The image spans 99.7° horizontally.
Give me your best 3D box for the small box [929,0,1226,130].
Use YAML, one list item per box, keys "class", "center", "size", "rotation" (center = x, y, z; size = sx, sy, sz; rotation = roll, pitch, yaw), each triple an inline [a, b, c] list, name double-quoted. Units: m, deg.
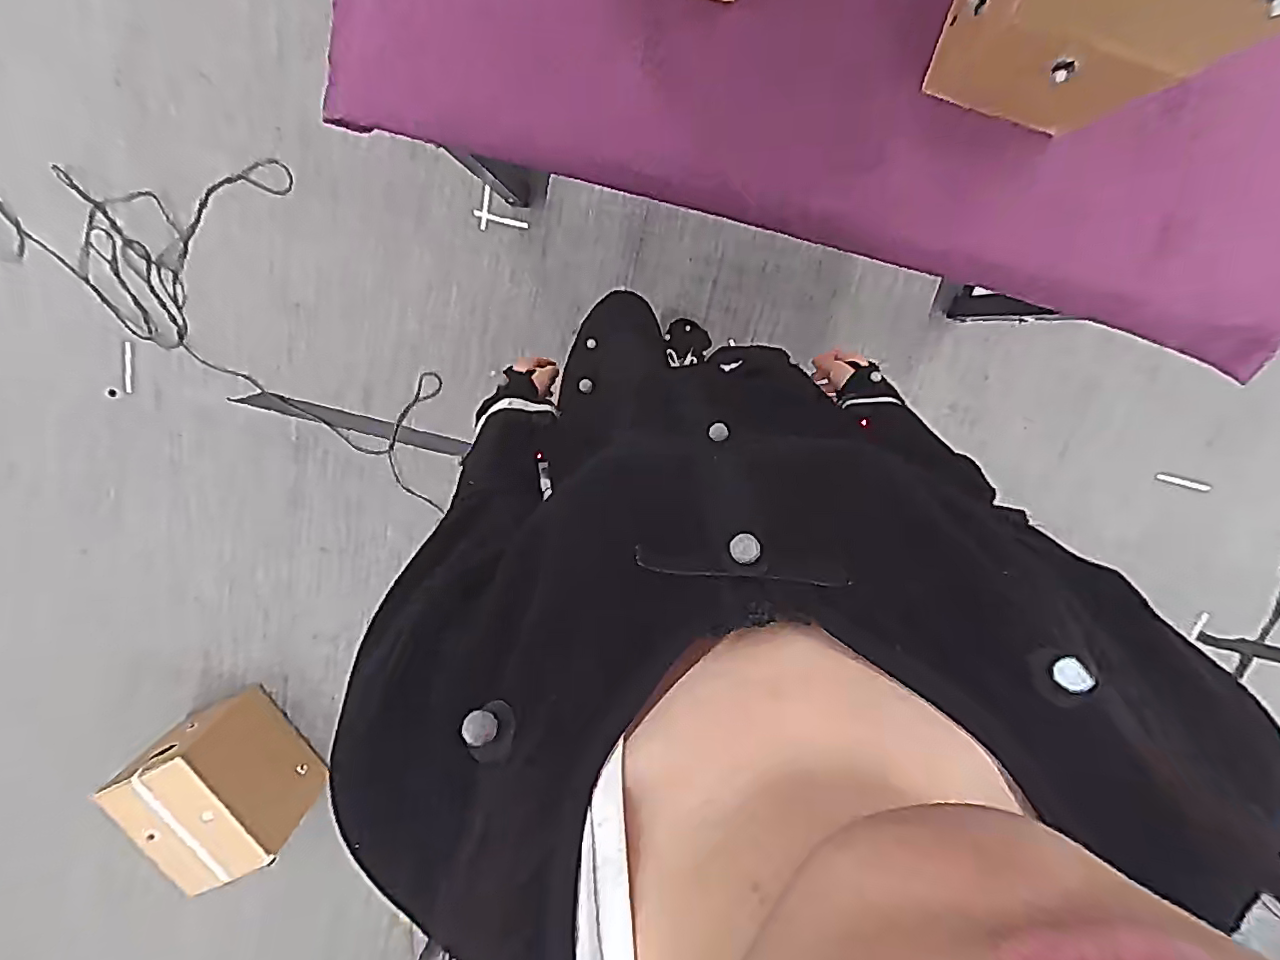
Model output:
- class: "small box"
  center: [0.424, -0.475, 0.526]
  size: [0.179, 0.176, 0.168]
  rotation: [15, 106, -4]
